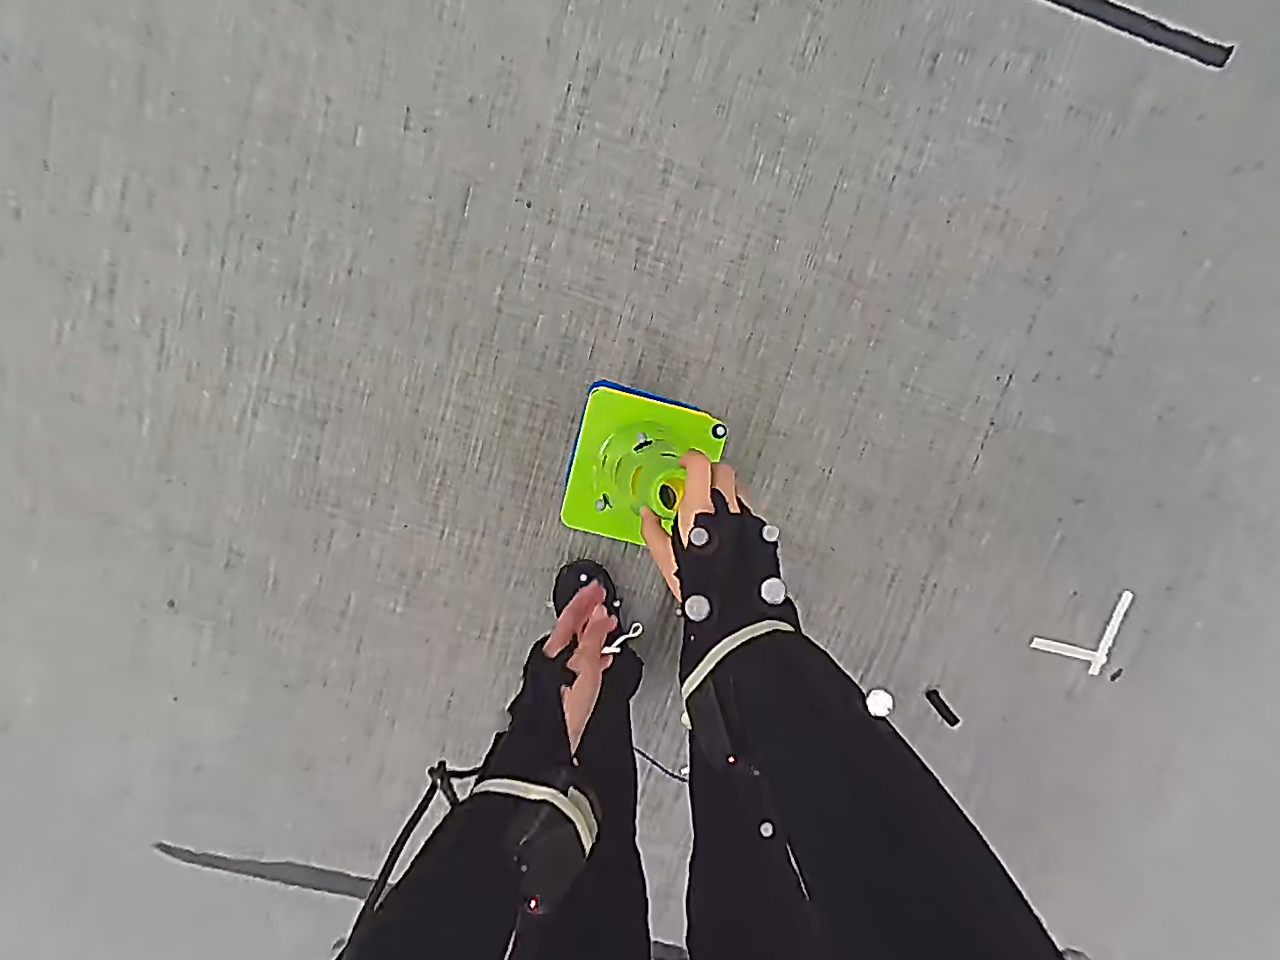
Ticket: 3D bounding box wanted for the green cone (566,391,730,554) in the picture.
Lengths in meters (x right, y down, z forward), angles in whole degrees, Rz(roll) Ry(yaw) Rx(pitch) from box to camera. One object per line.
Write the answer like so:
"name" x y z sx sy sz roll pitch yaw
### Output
"green cone" 0.018 0.002 0.585 0.200 0.368 0.202 13 93 -3
